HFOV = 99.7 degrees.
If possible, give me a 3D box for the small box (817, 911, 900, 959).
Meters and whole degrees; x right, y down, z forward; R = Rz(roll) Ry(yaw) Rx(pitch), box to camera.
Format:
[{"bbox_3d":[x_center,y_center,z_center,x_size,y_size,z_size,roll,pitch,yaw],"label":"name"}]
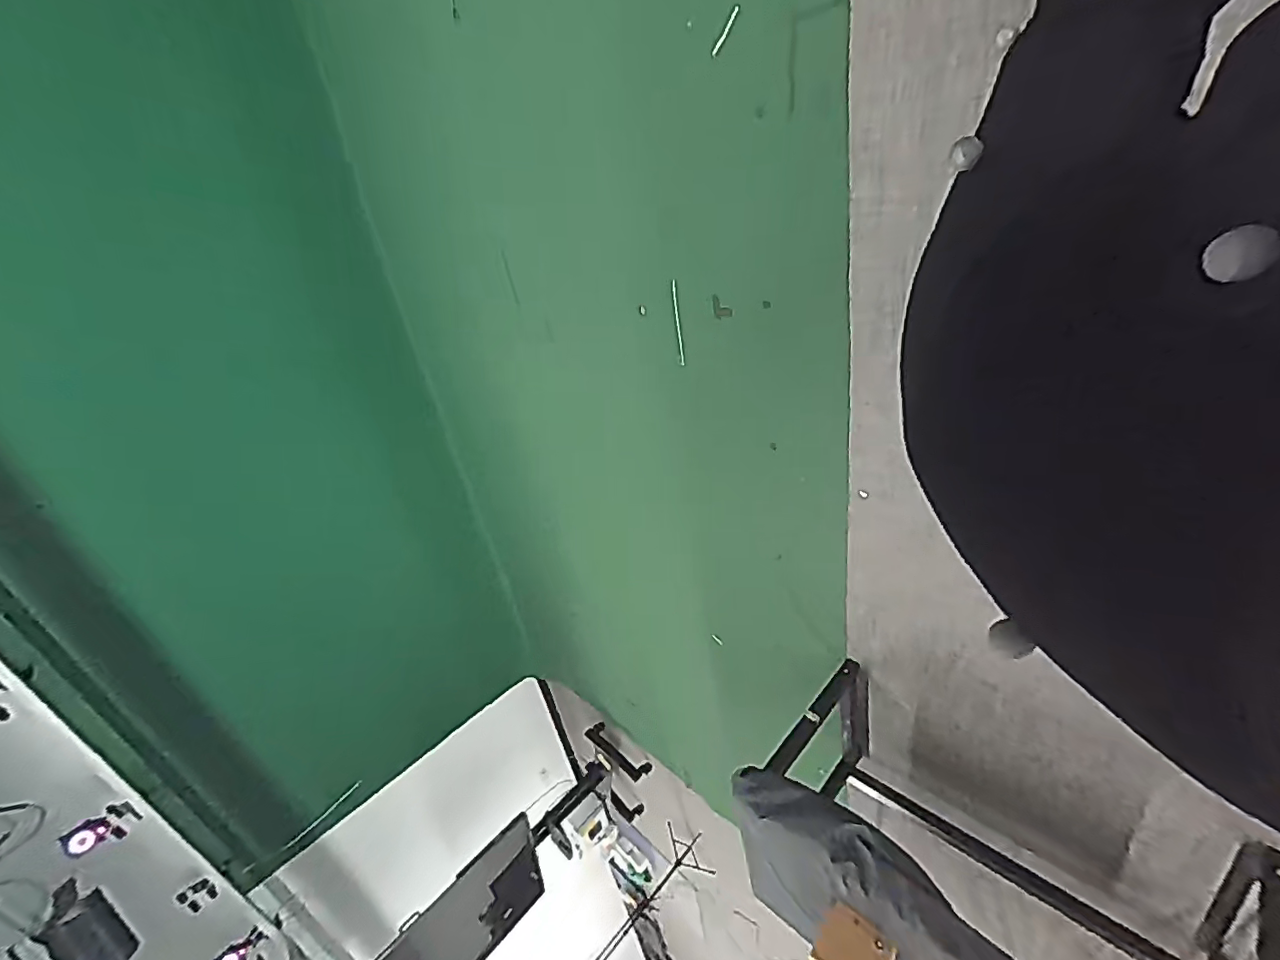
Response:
[{"bbox_3d":[0.595,1.344,1.478,0.168,0.176,0.179,18,130,43],"label":"small box"}]
